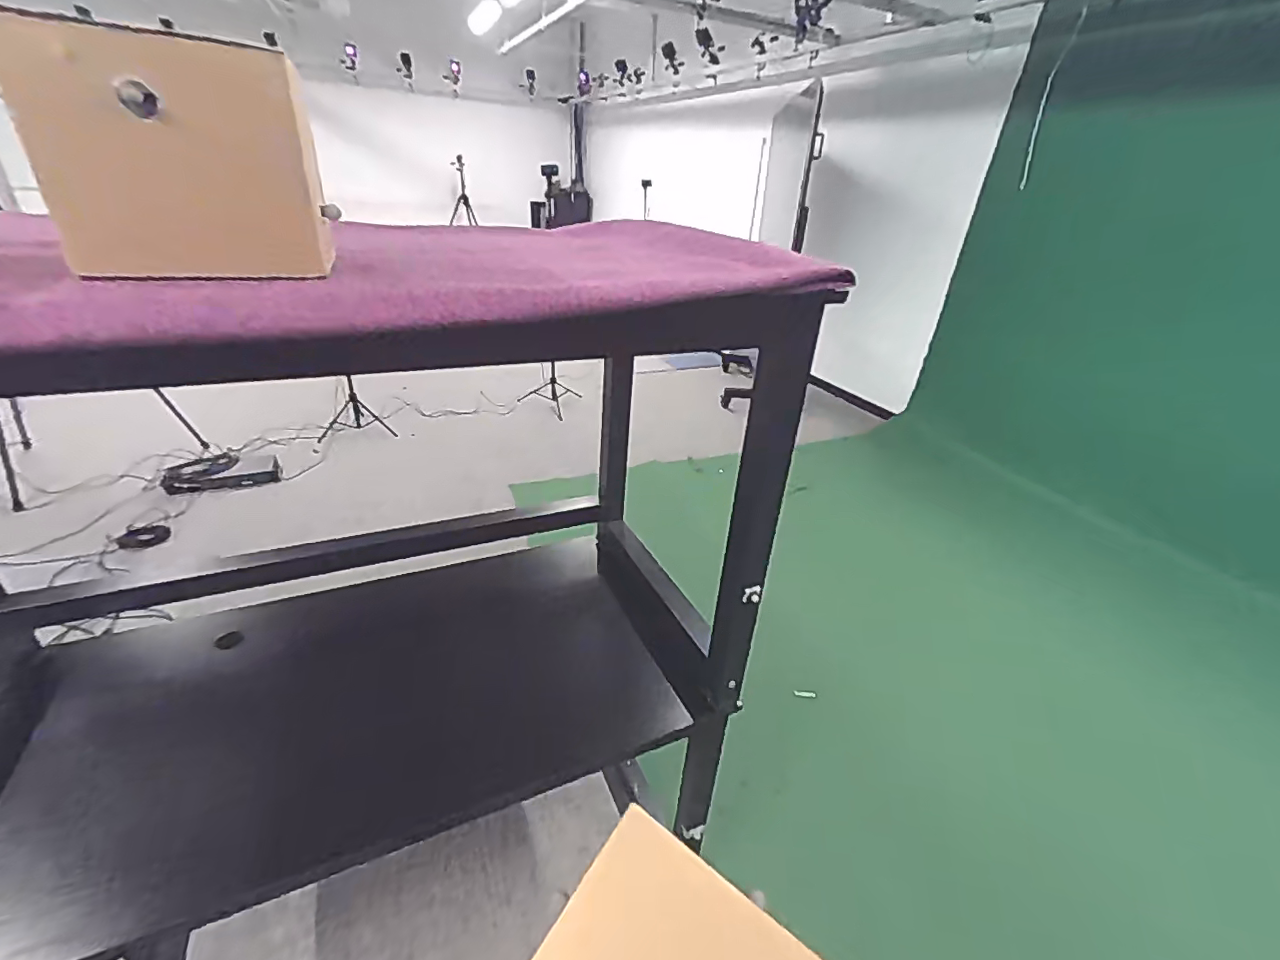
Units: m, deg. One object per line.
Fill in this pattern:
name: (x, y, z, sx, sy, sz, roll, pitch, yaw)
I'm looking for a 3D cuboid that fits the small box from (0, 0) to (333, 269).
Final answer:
small box: (-0.388, -0.281, 0.473, 0.179, 0.176, 0.168, -9, 30, -23)
